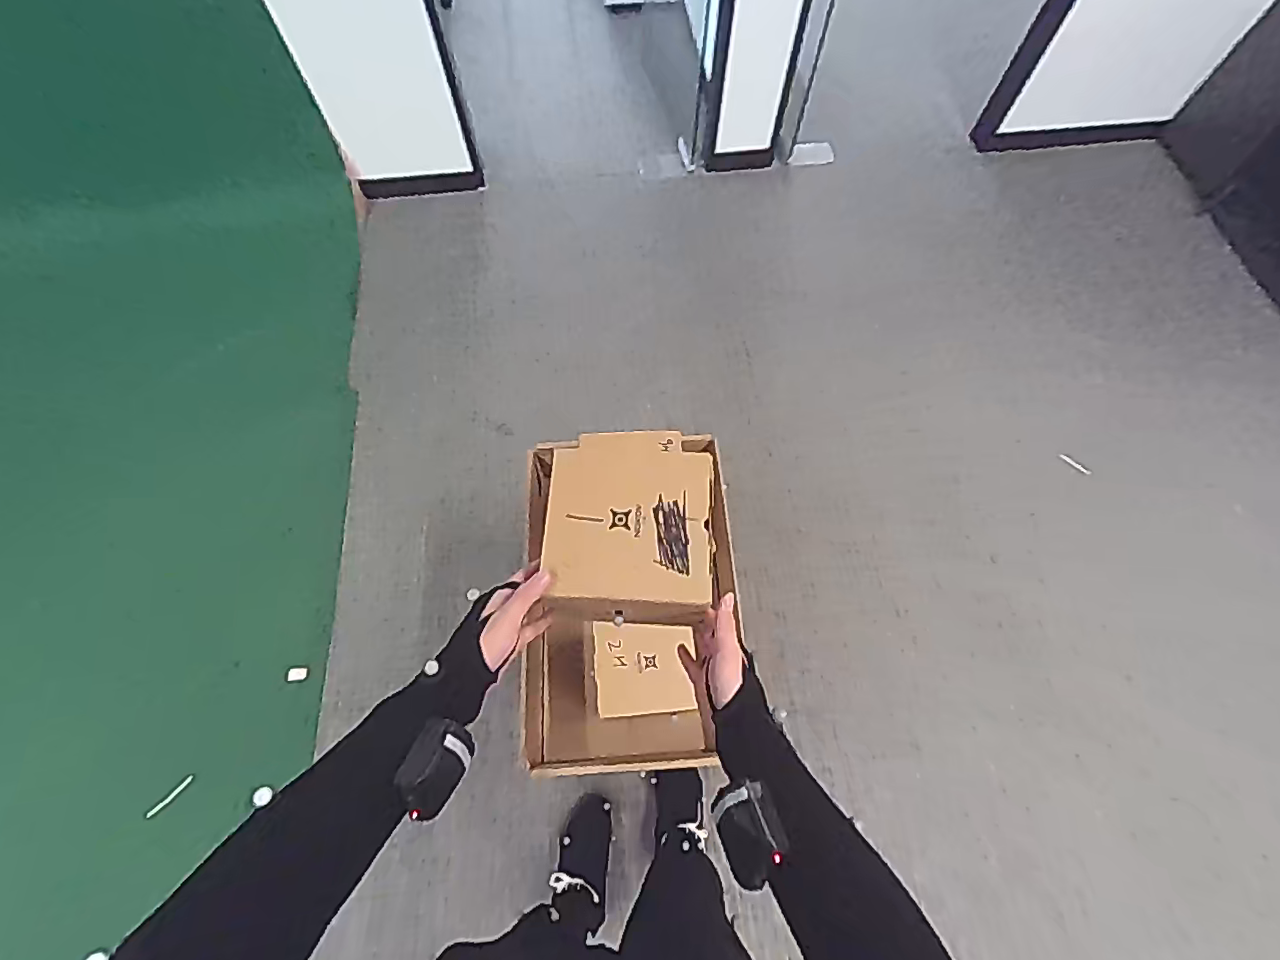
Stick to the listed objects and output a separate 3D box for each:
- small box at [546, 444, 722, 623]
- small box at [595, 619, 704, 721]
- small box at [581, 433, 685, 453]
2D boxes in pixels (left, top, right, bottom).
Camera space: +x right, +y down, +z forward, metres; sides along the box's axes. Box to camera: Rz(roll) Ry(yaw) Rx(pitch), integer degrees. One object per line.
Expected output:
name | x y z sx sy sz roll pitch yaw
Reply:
small box | -0.003 0.072 0.639 0.179 0.176 0.168 3 67 1
small box | 0.011 0.346 0.989 0.179 0.176 0.168 -4 65 -3
small box | -0.010 0.029 0.957 0.179 0.176 0.168 -1 67 -1
